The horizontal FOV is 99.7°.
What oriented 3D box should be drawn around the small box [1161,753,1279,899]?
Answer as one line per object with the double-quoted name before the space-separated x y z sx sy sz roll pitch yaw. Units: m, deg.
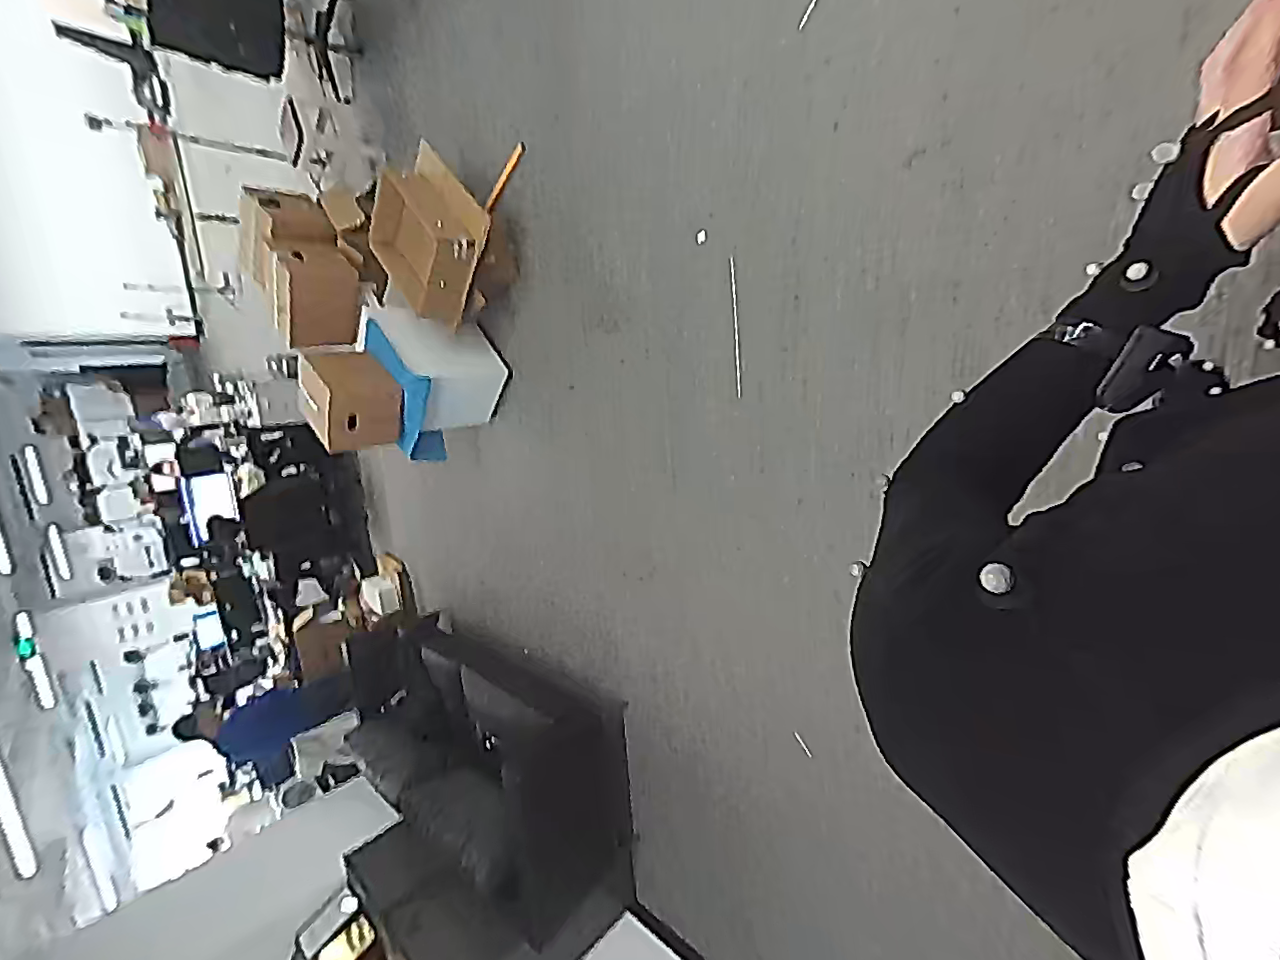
"small box" 1.258 0.736 1.177 0.168 0.176 0.179 6 105 44
